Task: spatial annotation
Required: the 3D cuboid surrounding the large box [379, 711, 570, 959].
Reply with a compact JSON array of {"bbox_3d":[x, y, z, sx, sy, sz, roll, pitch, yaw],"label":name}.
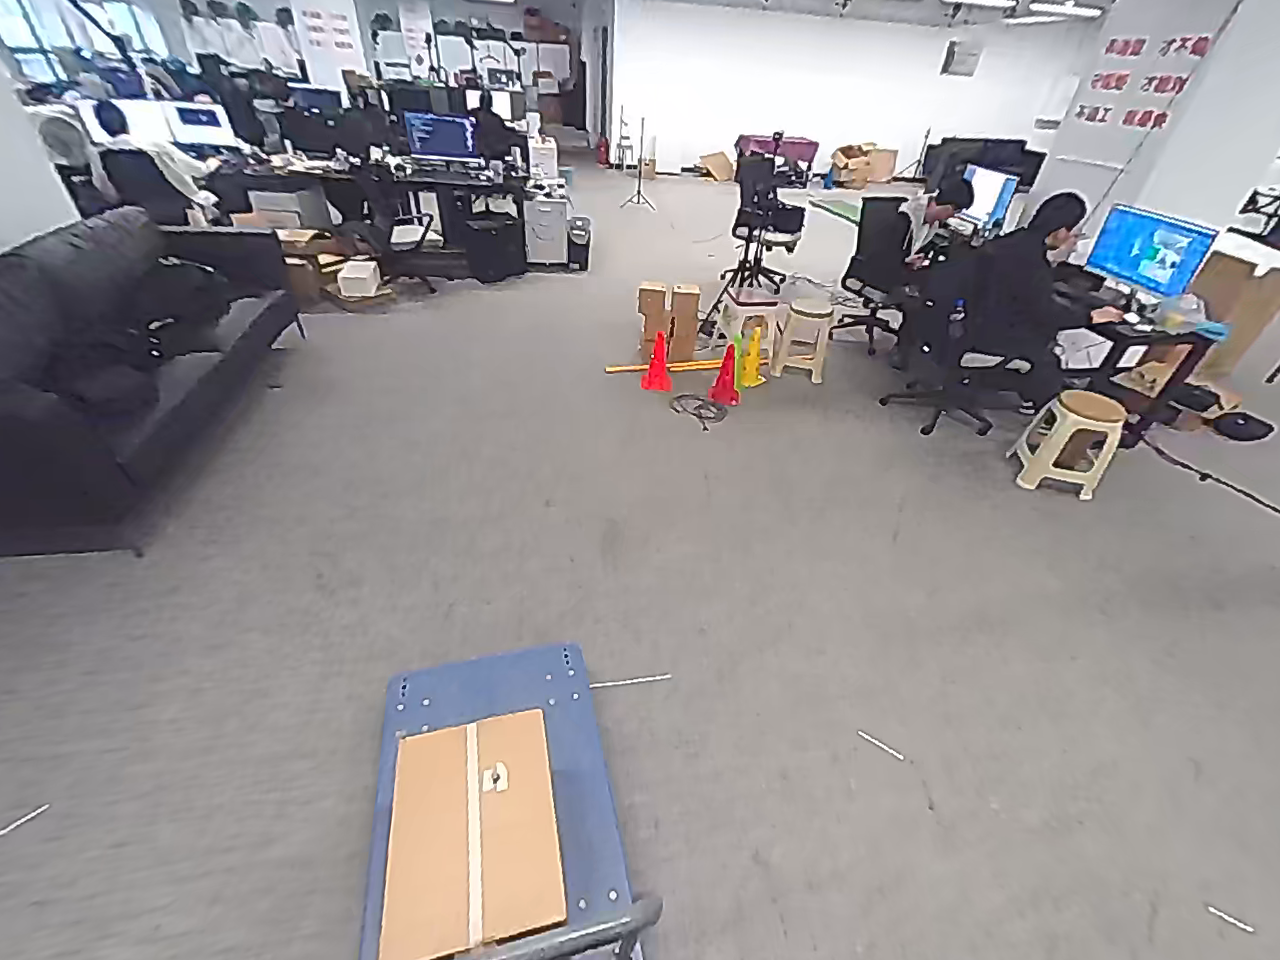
[{"bbox_3d":[-0.337,0.787,1.150,0.320,0.320,0.408,-6,38,-14],"label":"large box"}]
